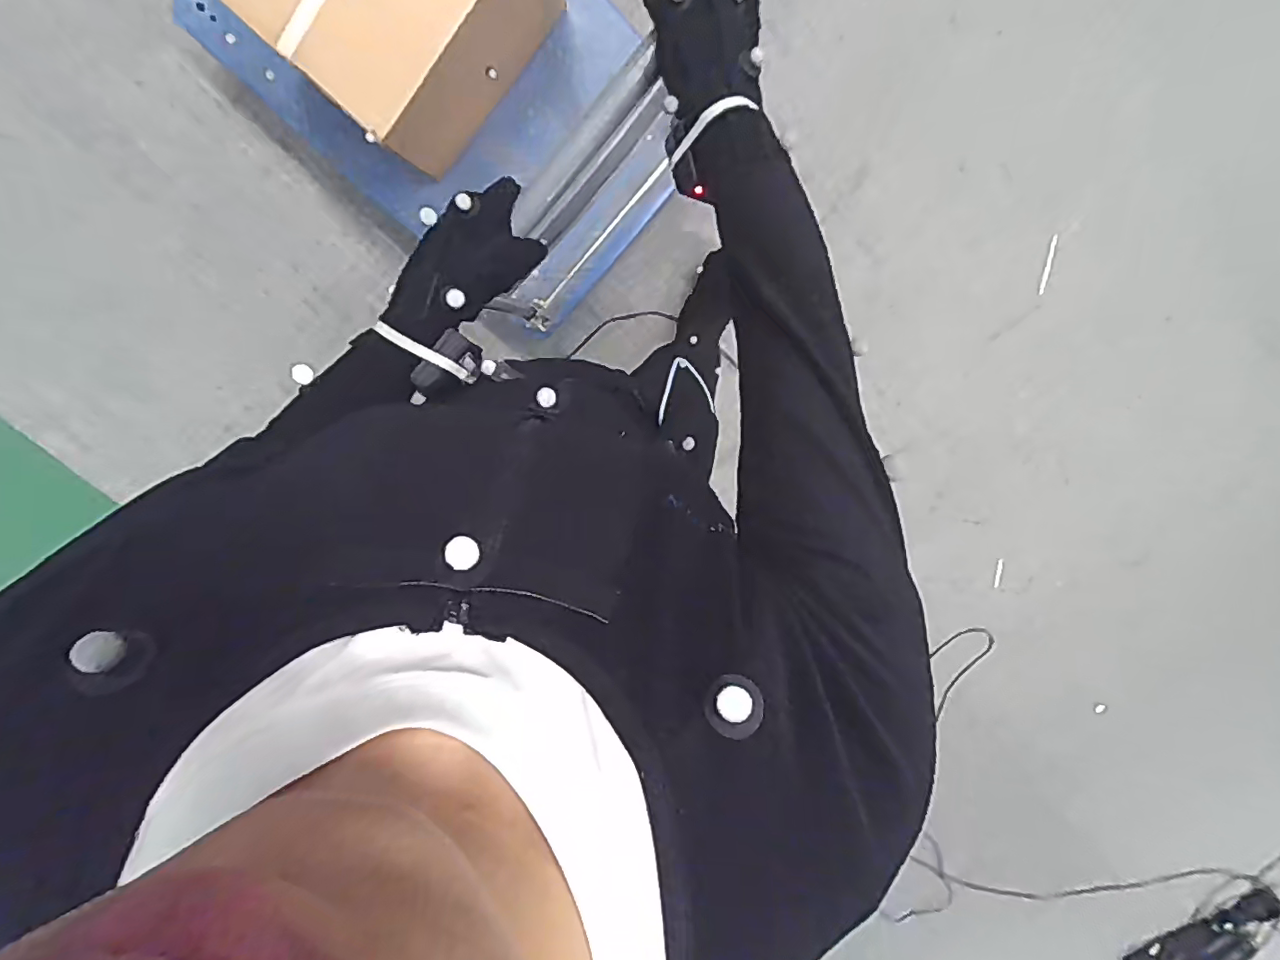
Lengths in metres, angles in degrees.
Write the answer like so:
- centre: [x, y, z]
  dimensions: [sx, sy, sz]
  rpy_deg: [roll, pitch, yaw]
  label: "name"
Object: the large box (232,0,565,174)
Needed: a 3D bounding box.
- centre: [-0.362, -0.794, 0.868]
  dimensions: [0.320, 0.320, 0.408]
  rpy_deg: [39, 103, -15]
  label: "large box"
